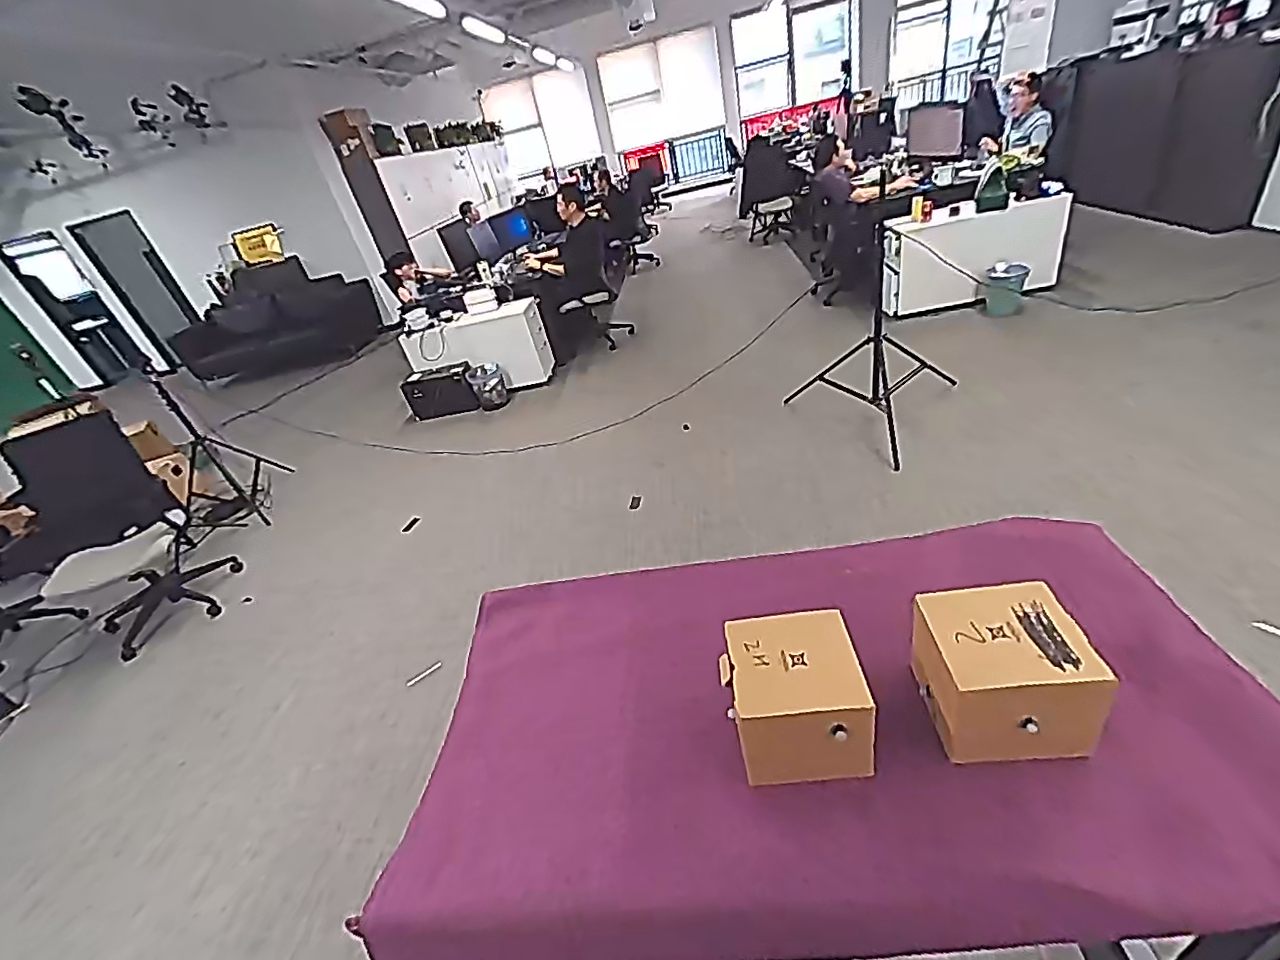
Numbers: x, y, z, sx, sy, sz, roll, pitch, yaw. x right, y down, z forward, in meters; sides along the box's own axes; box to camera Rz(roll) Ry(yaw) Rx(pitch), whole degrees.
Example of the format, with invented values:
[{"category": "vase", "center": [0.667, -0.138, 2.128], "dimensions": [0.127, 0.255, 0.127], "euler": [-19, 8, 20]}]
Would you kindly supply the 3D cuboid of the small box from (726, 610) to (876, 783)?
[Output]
[{"category": "small box", "center": [0.230, 0.318, 0.795], "dimensions": [0.179, 0.176, 0.168], "euler": [-10, 32, 8]}]
